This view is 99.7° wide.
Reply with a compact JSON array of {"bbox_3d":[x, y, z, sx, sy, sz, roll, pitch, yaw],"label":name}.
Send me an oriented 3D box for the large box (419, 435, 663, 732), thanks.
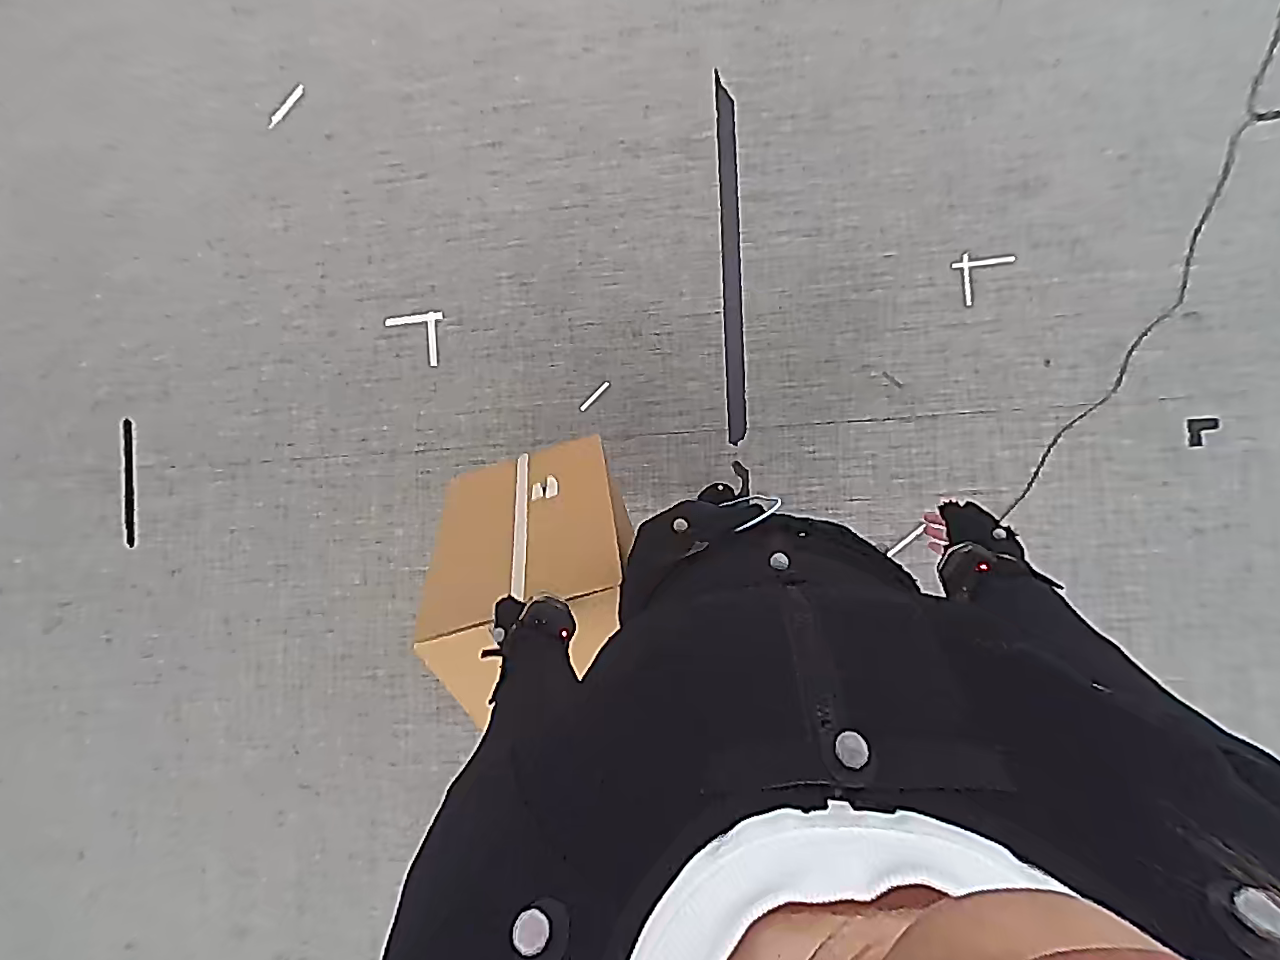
[{"bbox_3d":[-0.165,0.179,1.013,0.320,0.408,0.320,-15,127,2],"label":"large box"}]
